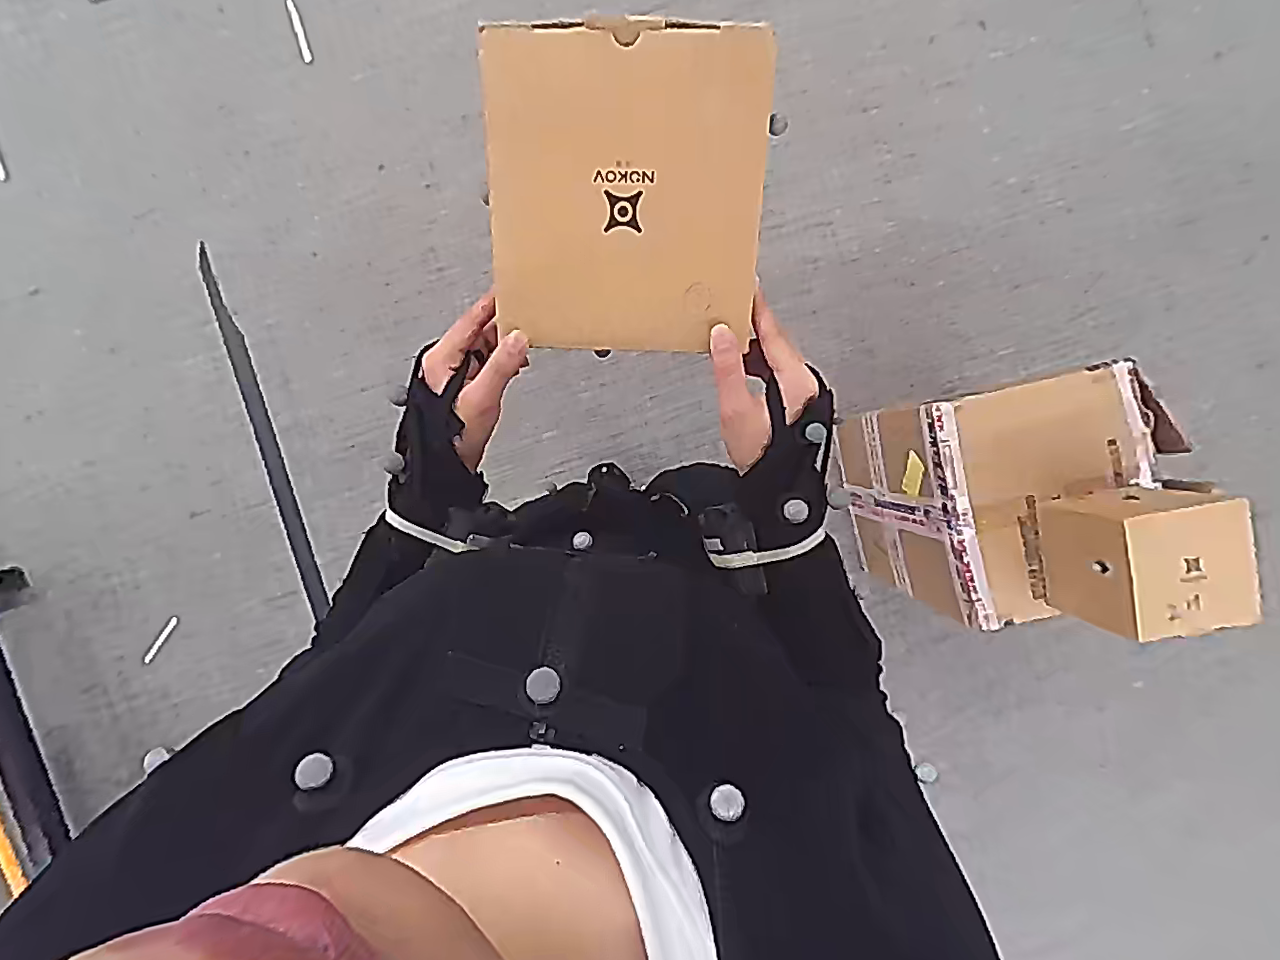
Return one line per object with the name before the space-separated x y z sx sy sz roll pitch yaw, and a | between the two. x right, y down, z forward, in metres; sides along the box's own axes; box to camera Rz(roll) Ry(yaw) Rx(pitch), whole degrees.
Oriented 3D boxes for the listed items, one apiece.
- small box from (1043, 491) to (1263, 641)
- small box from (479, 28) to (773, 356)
small box | 0.737 0.114 0.798 0.168 0.176 0.179 -10 94 2
small box | -0.005 -0.193 0.399 0.168 0.176 0.179 1 110 3
